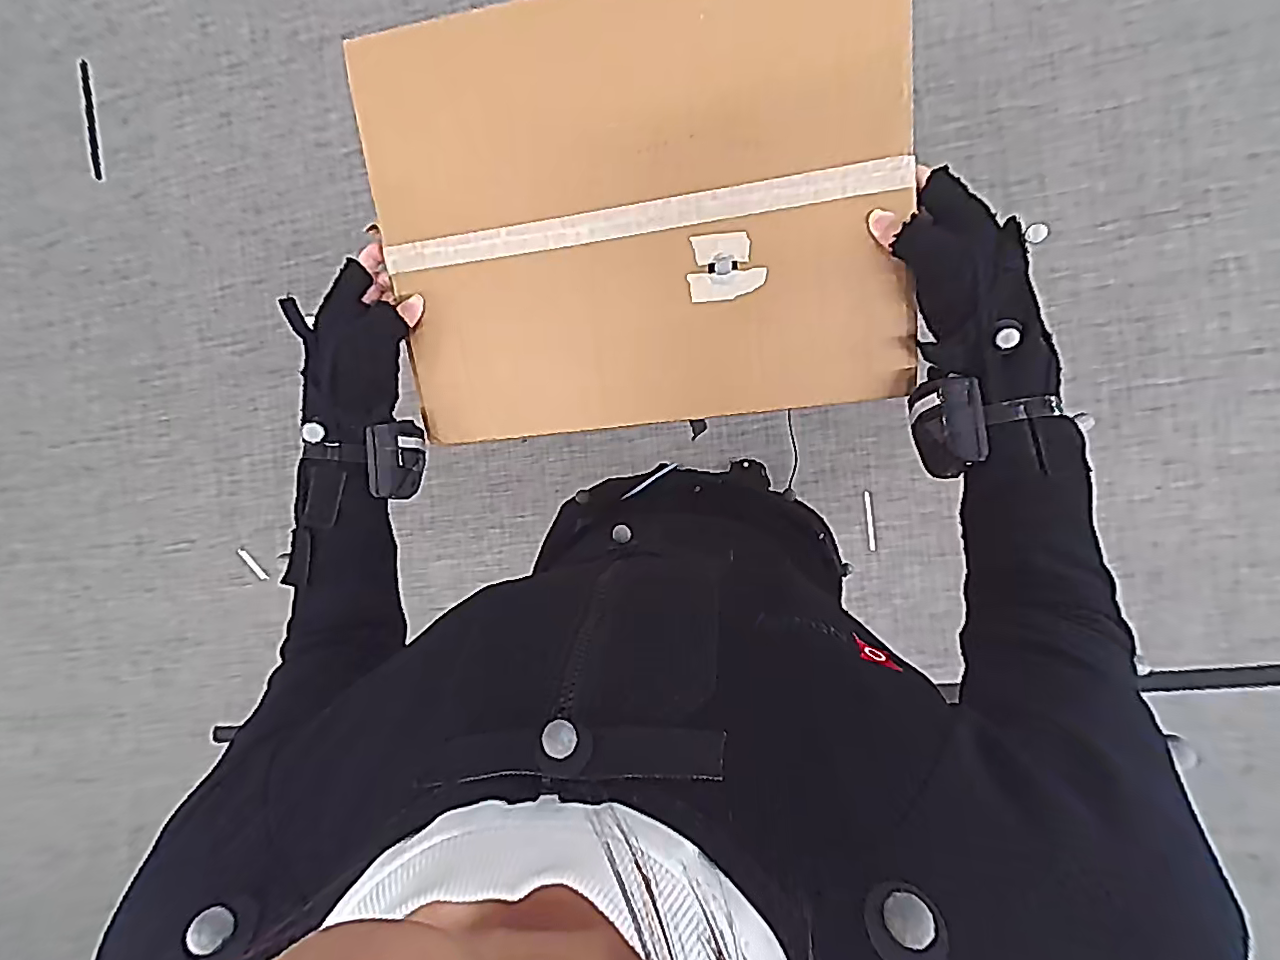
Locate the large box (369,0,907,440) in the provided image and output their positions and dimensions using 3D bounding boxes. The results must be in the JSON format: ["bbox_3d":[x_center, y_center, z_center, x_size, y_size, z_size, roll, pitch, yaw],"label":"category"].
[{"bbox_3d":[0.015,-0.238,0.571,0.408,0.320,0.320,-5,103,9],"label":"large box"}]
